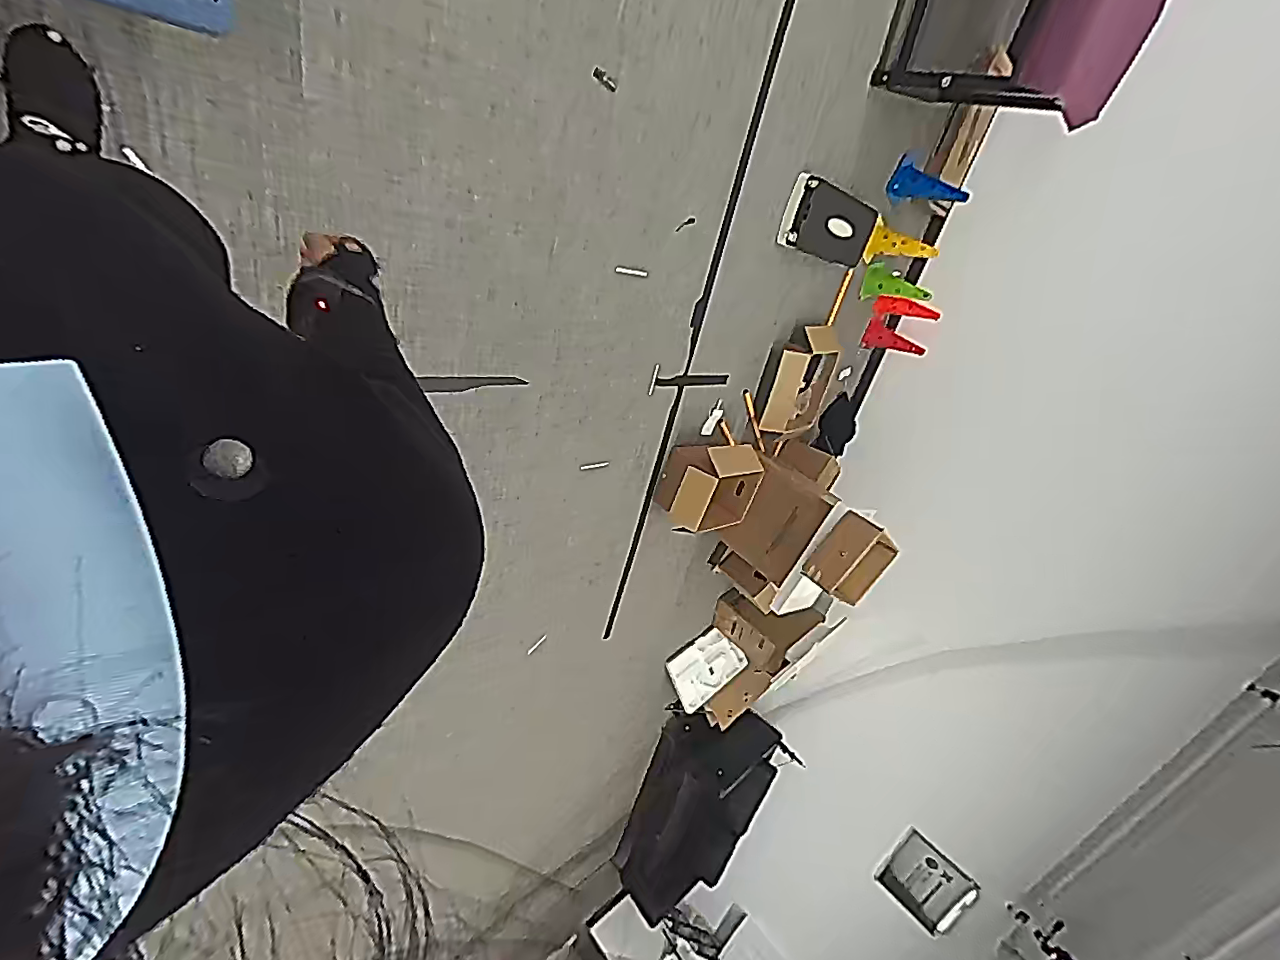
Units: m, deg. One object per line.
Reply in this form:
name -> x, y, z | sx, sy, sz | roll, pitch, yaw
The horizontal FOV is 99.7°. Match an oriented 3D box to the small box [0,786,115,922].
small box -> -1.387, 0.885, 1.294 | 0.168, 0.176, 0.179 | -12, 127, -45

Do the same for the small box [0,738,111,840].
small box -> -1.500, 0.802, 1.378 | 0.168, 0.176, 0.179 | -25, 136, -37
